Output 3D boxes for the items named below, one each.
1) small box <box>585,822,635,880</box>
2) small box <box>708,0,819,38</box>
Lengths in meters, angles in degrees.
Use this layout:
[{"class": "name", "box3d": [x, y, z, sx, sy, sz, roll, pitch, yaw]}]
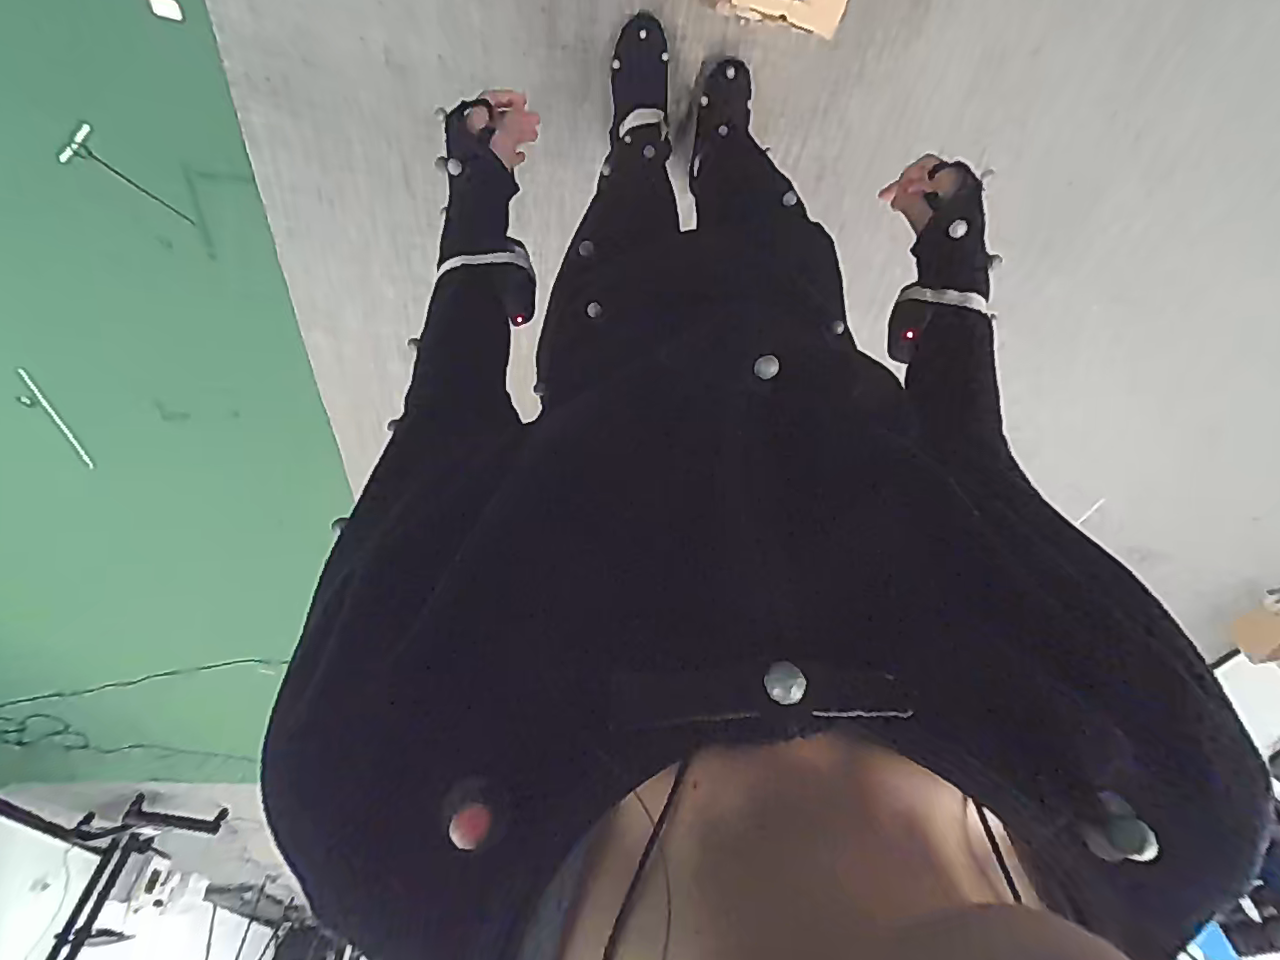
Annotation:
[{"class": "small box", "box3d": [-0.122, 1.499, 2.186, 0.179, 0.176, 0.168, 6, 134, -9]}, {"class": "small box", "box3d": [0.219, -0.883, 0.914, 0.168, 0.176, 0.179, 5, 134, -8]}]
